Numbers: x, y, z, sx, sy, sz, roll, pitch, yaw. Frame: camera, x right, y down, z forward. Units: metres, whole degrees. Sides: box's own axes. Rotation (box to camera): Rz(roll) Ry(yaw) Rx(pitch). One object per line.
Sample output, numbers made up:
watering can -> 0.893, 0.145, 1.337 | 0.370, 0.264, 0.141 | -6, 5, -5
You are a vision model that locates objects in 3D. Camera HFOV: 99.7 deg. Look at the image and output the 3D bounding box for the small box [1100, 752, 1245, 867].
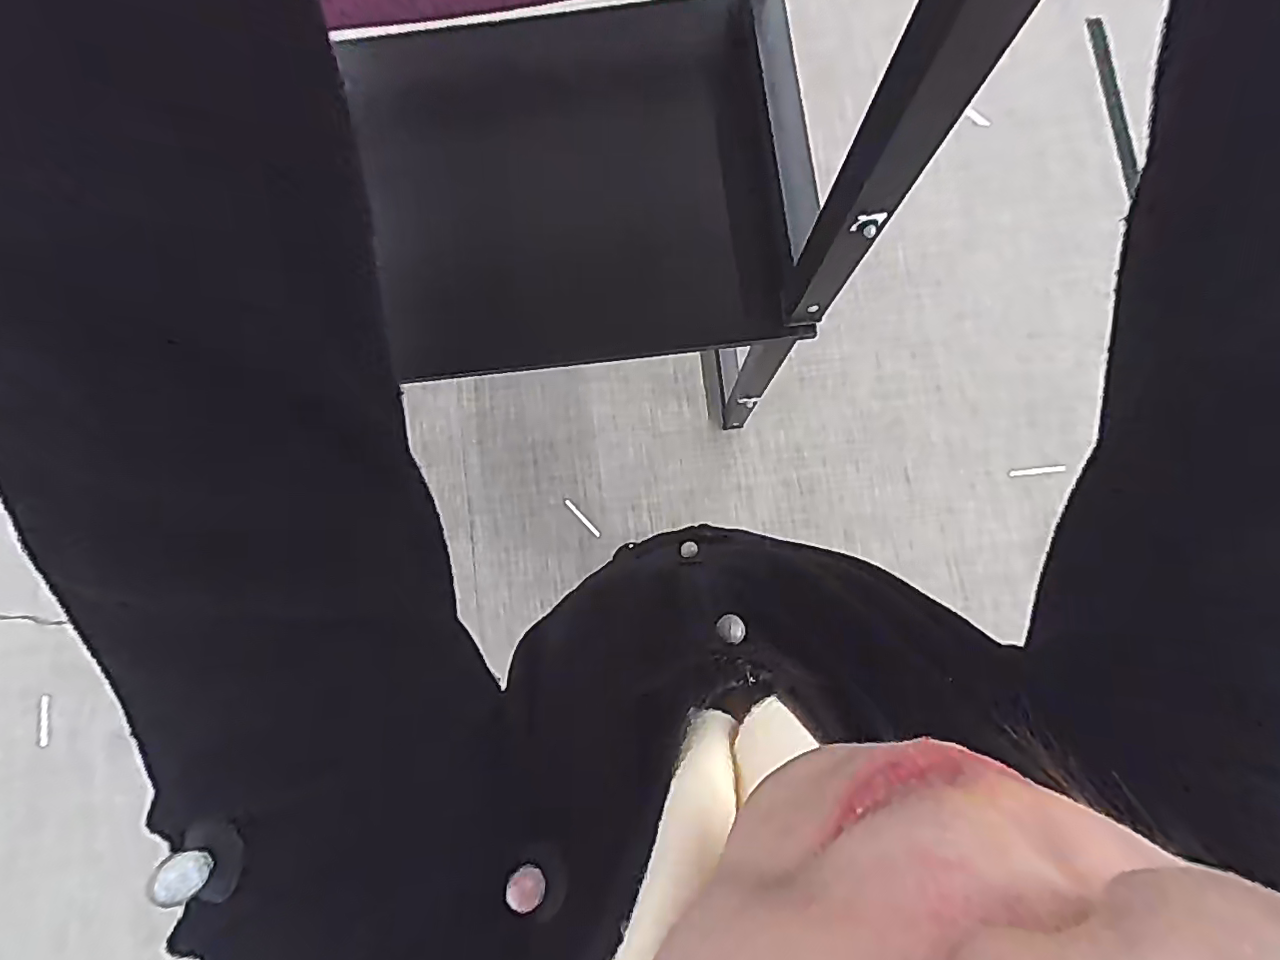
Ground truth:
small box -> 1.272, 0.790, 1.313 | 0.179, 0.176, 0.168 | -13, 84, 0
